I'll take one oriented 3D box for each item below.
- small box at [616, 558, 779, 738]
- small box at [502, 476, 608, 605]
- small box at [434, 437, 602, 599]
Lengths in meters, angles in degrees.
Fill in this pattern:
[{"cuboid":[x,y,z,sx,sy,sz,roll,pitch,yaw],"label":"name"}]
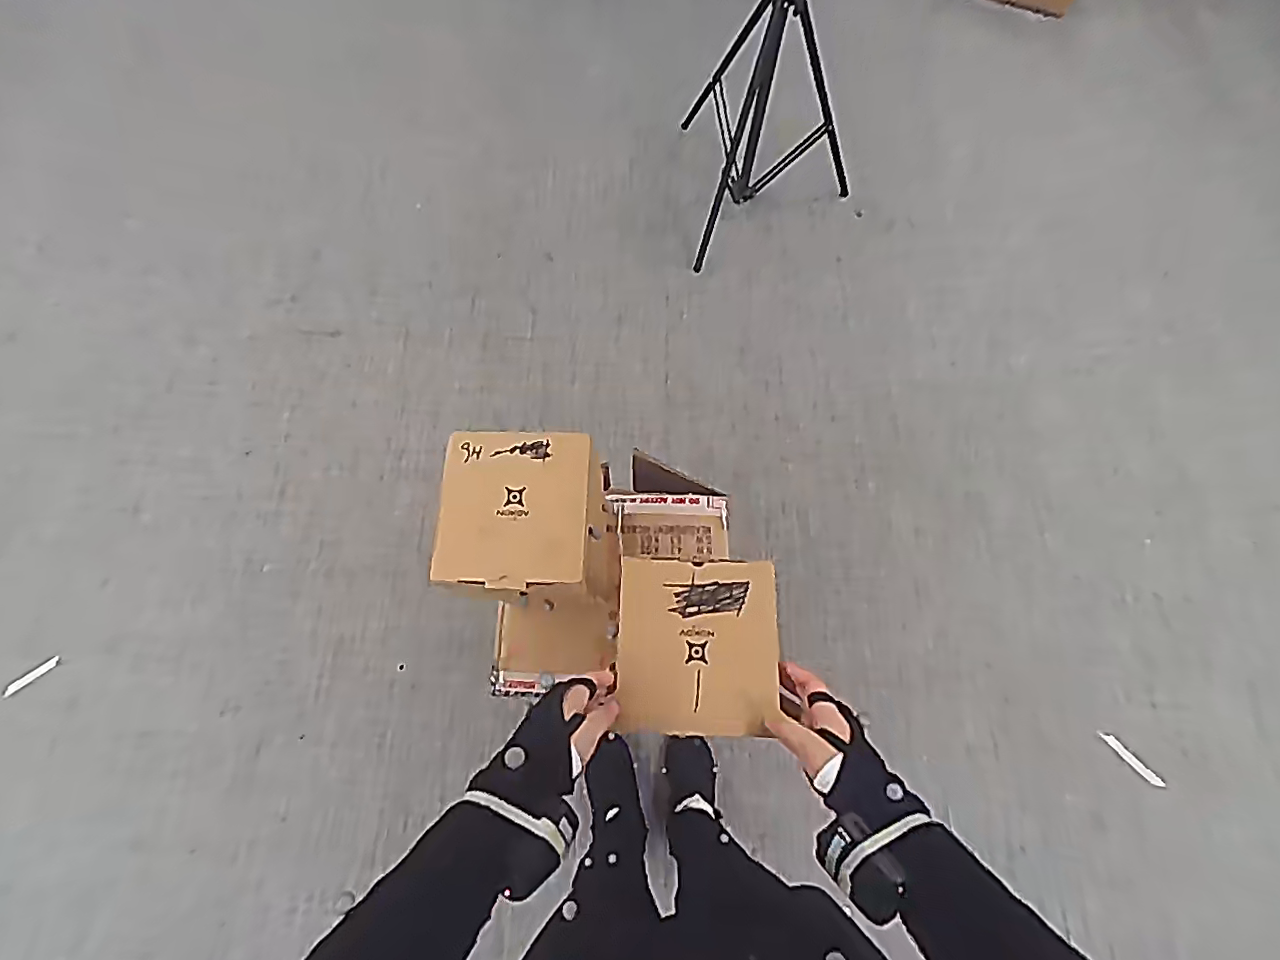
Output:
[{"cuboid":[0.060,0.194,0.637,0.168,0.176,0.179,1,73,1],"label":"small box"},{"cuboid":[-0.139,0.098,0.840,0.168,0.176,0.179,-1,73,2],"label":"small box"},{"cuboid":[-0.138,0.056,0.680,0.168,0.176,0.179,0,73,2],"label":"small box"}]
